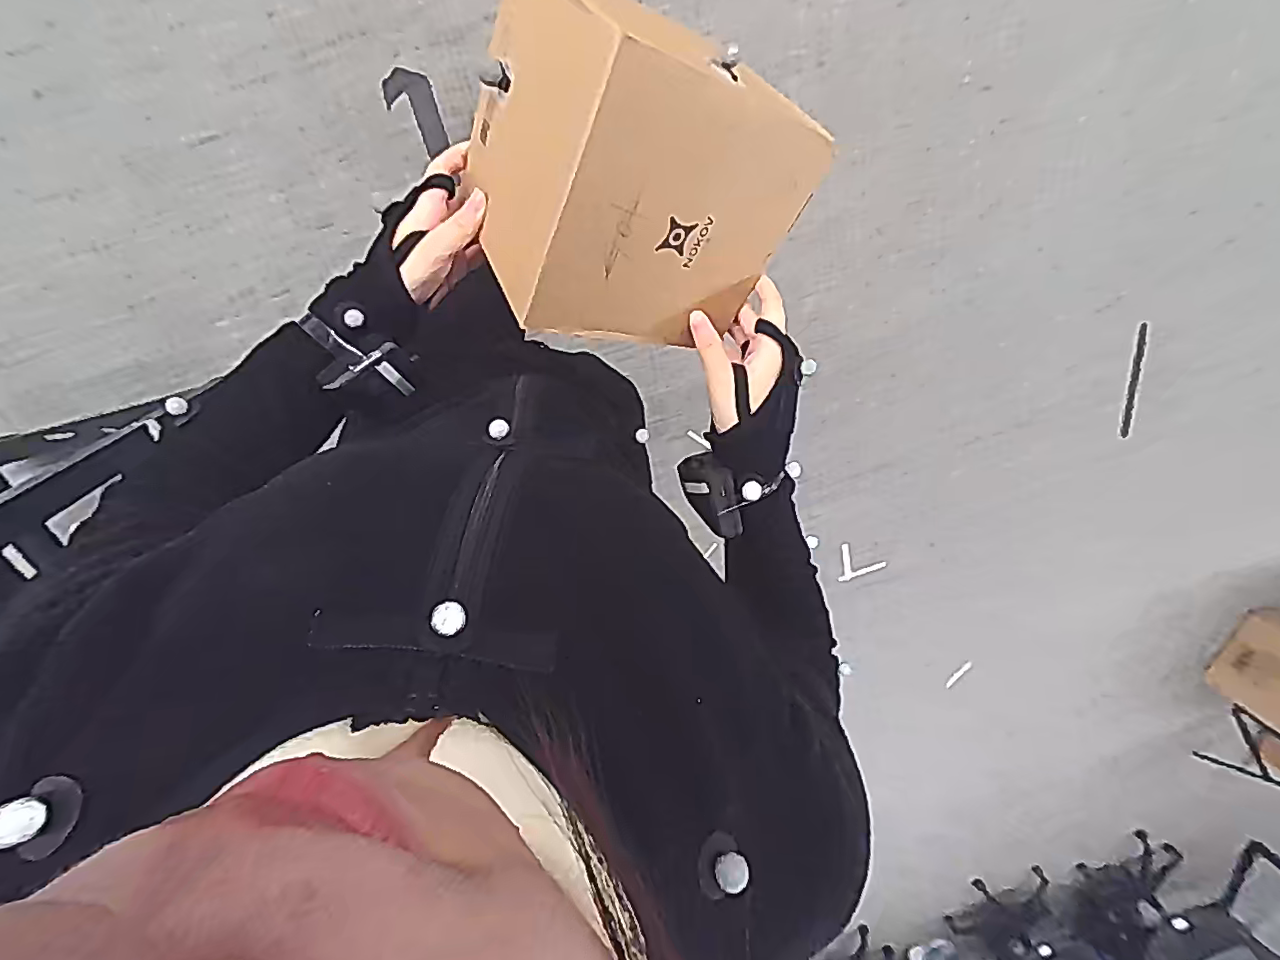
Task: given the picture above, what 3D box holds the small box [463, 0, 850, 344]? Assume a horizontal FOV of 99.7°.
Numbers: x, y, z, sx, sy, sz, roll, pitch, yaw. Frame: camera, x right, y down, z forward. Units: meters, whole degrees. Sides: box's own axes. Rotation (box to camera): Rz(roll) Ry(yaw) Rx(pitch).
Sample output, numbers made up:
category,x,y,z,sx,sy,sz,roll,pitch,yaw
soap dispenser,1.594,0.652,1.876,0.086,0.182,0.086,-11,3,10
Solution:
category,x,y,z,sx,sy,sz,roll,pitch,yaw
small box,-0.002,-0.219,0.377,0.179,0.176,0.168,-3,142,-36
